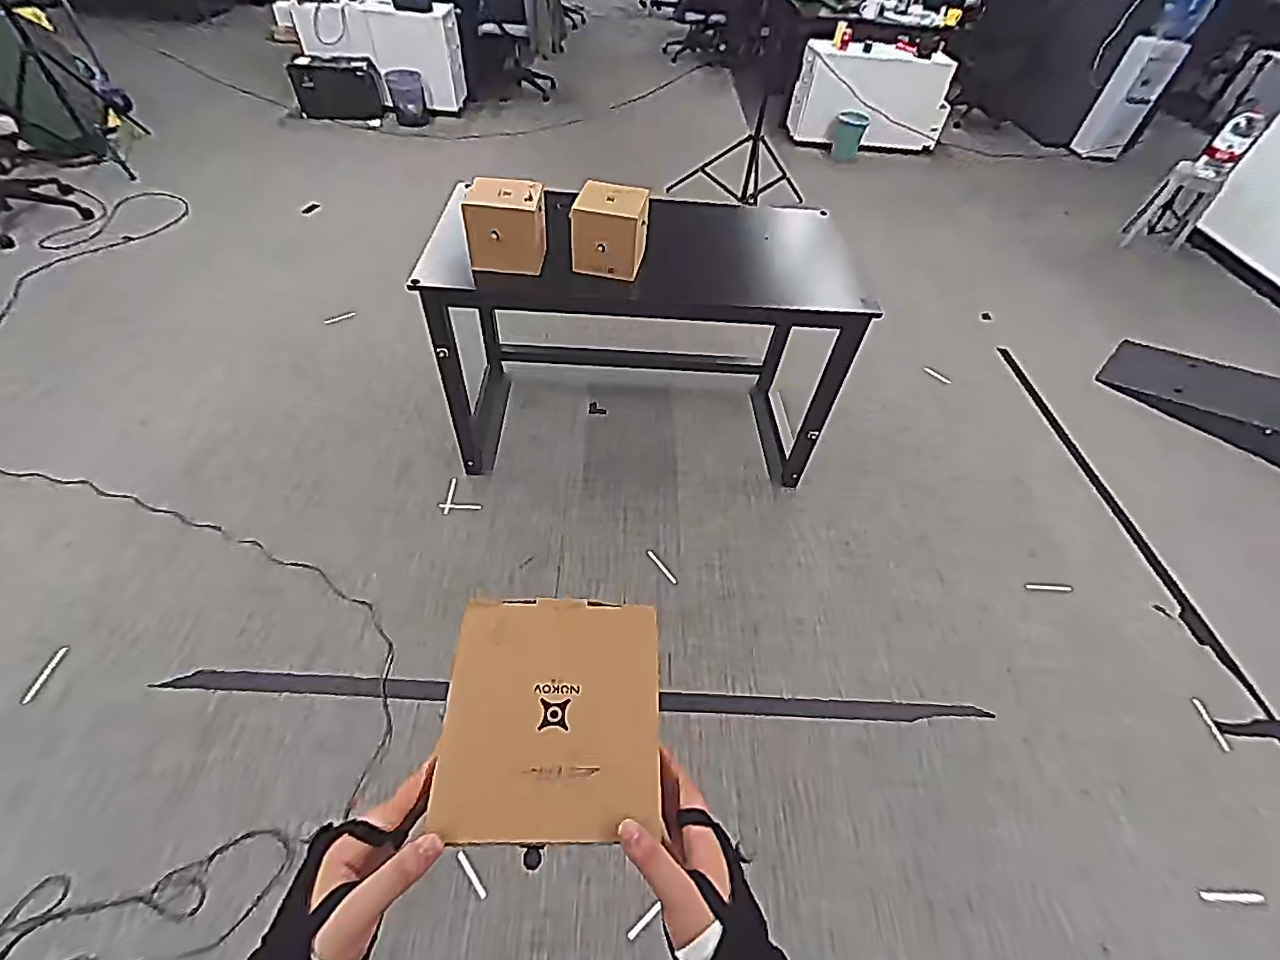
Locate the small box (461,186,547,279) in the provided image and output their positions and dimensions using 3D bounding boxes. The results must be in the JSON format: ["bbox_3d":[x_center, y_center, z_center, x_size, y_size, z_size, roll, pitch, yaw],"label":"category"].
[{"bbox_3d":[-0.342,-0.637,1.395,0.179,0.176,0.168,3,49,-2],"label":"small box"}]

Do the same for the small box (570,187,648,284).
[{"bbox_3d":[-0.080,-0.639,1.421,0.168,0.176,0.179,11,49,3],"label":"small box"}]

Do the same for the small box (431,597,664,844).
[{"bbox_3d":[-0.074,0.222,0.489,0.168,0.176,0.179,3,56,-6],"label":"small box"}]
